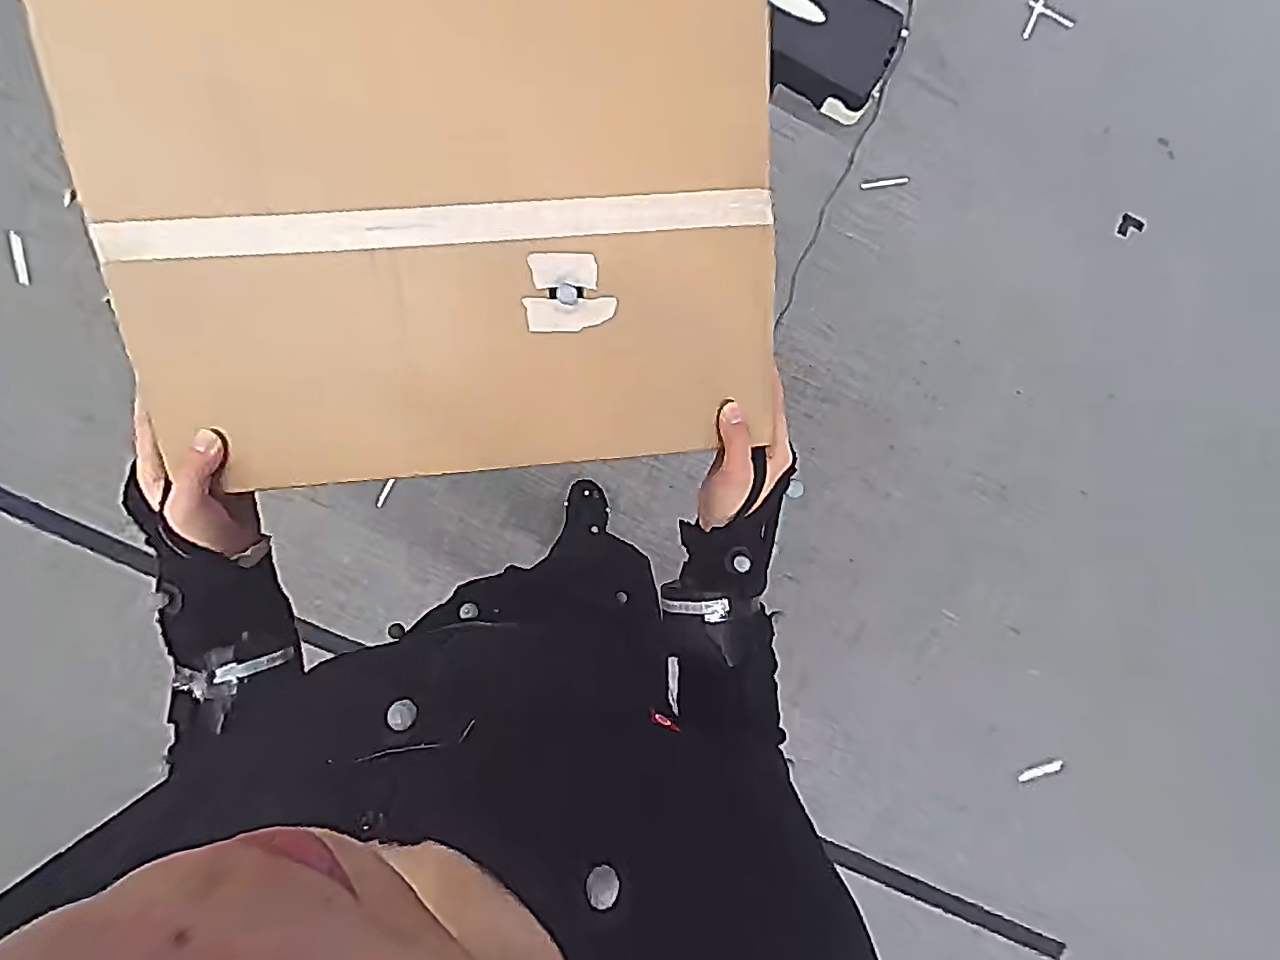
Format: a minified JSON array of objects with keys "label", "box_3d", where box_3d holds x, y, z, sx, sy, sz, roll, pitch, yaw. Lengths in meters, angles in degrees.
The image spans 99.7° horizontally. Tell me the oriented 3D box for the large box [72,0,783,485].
[{"label":"large box","box_3d":[-0.122,-0.199,0.483,0.408,0.320,0.320,-5,106,-6]}]
